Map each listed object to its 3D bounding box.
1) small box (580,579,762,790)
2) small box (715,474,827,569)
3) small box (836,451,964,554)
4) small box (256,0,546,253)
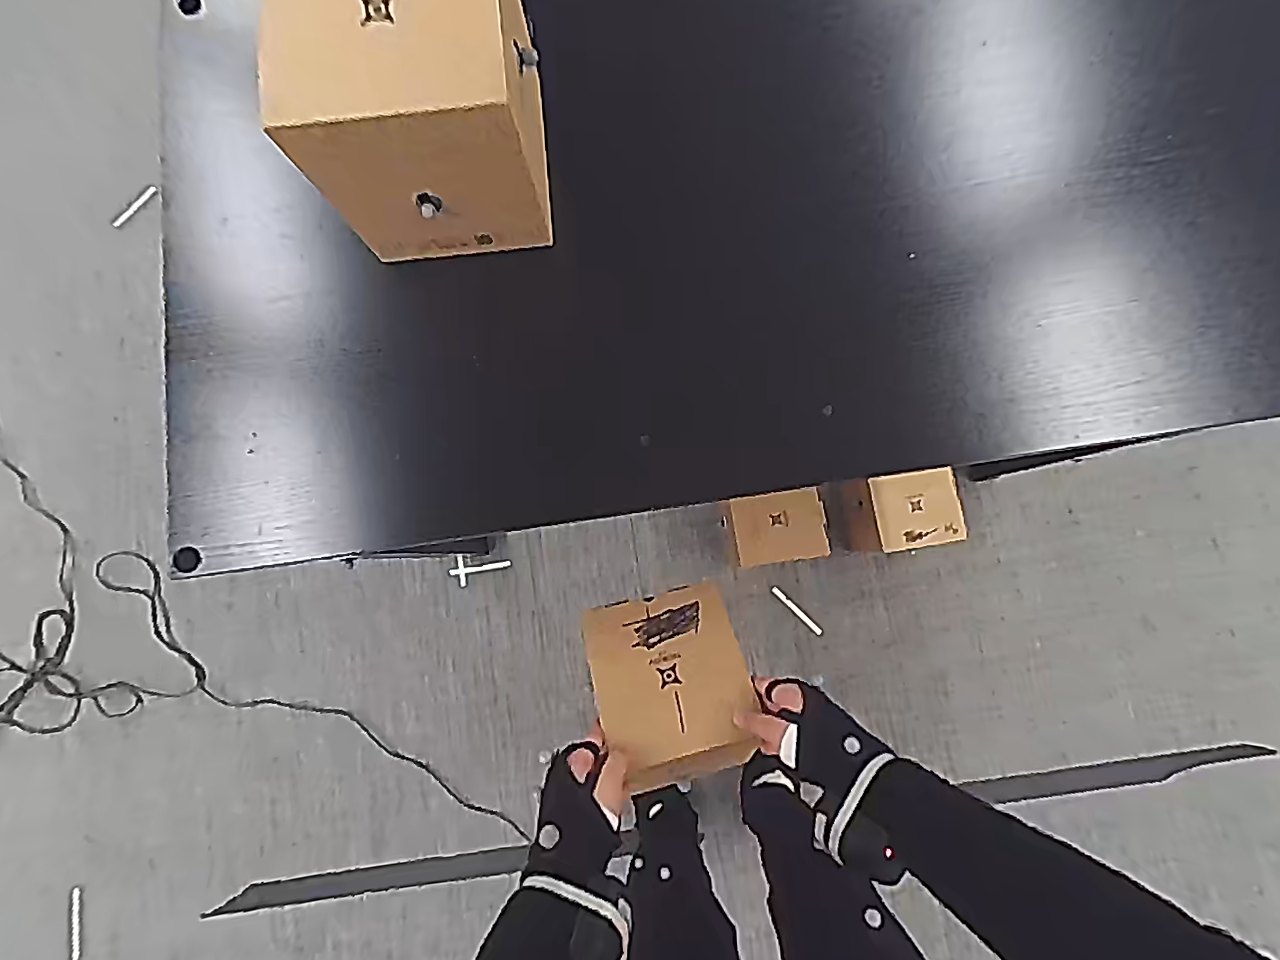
[{"bbox_3d":[0.028,0.248,0.650,0.168,0.176,0.179,-12,54,-7],"label":"small box"},{"bbox_3d":[0.262,0.089,1.120,0.179,0.176,0.168,-9,81,1],"label":"small box"},{"bbox_3d":[0.523,0.053,1.116,0.168,0.176,0.179,-10,81,1],"label":"small box"},{"bbox_3d":[-0.178,-0.309,0.449,0.168,0.176,0.179,-6,81,0],"label":"small box"}]
